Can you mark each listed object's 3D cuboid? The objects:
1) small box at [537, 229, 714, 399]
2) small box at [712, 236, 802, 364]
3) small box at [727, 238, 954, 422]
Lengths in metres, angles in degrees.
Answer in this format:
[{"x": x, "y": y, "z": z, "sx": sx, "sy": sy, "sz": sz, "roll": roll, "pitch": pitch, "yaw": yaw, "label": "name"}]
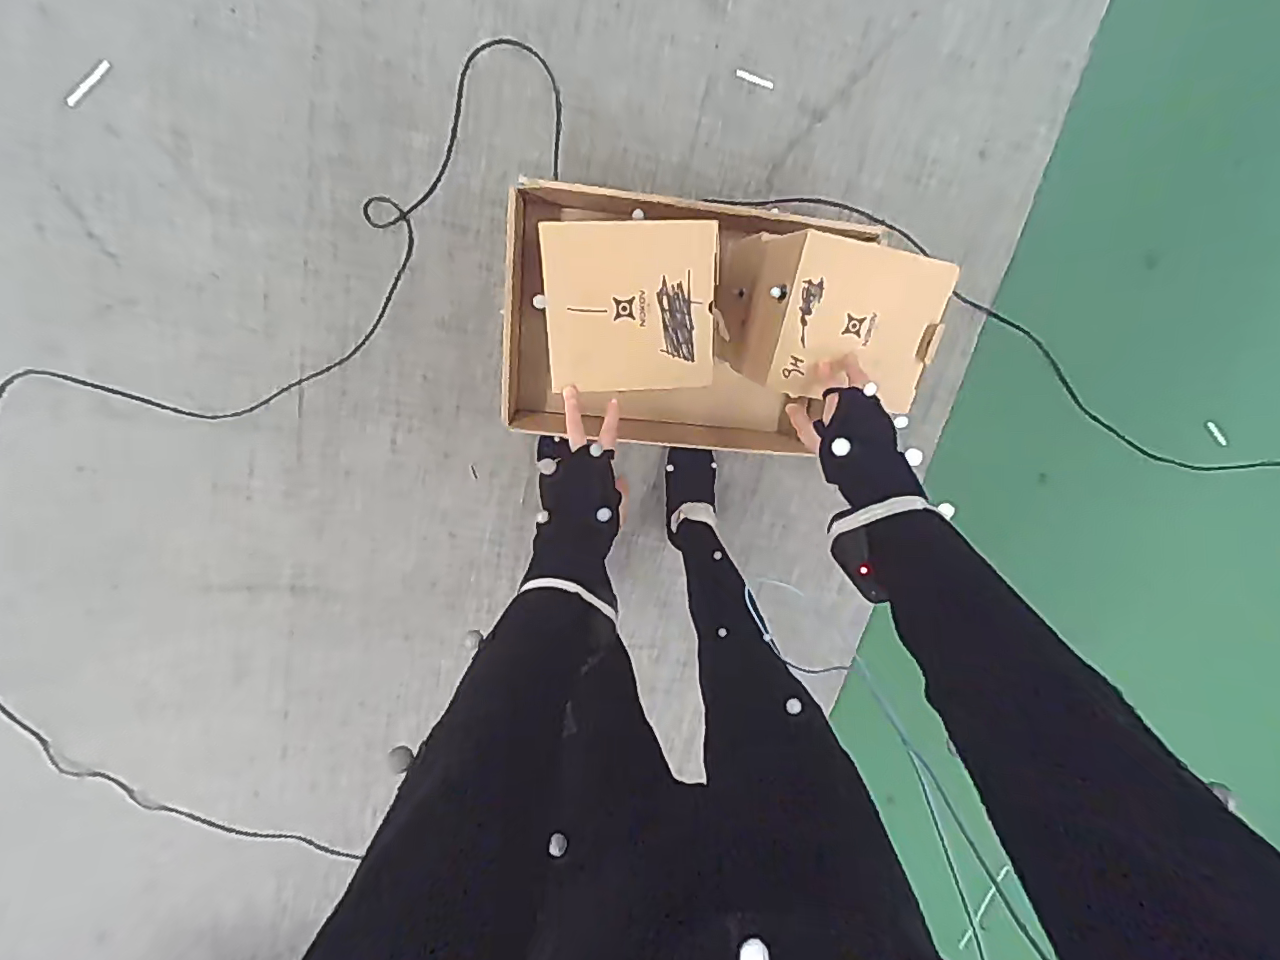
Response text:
[{"x": -0.022, "y": -0.193, "z": 0.622, "sx": 0.179, "sy": 0.176, "sz": 0.168, "roll": -3, "pitch": 110, "yaw": -6, "label": "small box"}, {"x": 0.213, "y": -0.248, "z": 0.803, "sx": 0.168, "sy": 0.176, "sz": 0.179, "roll": 7, "pitch": 109, "yaw": -7, "label": "small box"}, {"x": 0.223, "y": -0.181, "z": 0.653, "sx": 0.179, "sy": 0.176, "sz": 0.168, "roll": 9, "pitch": 108, "yaw": -9, "label": "small box"}]
